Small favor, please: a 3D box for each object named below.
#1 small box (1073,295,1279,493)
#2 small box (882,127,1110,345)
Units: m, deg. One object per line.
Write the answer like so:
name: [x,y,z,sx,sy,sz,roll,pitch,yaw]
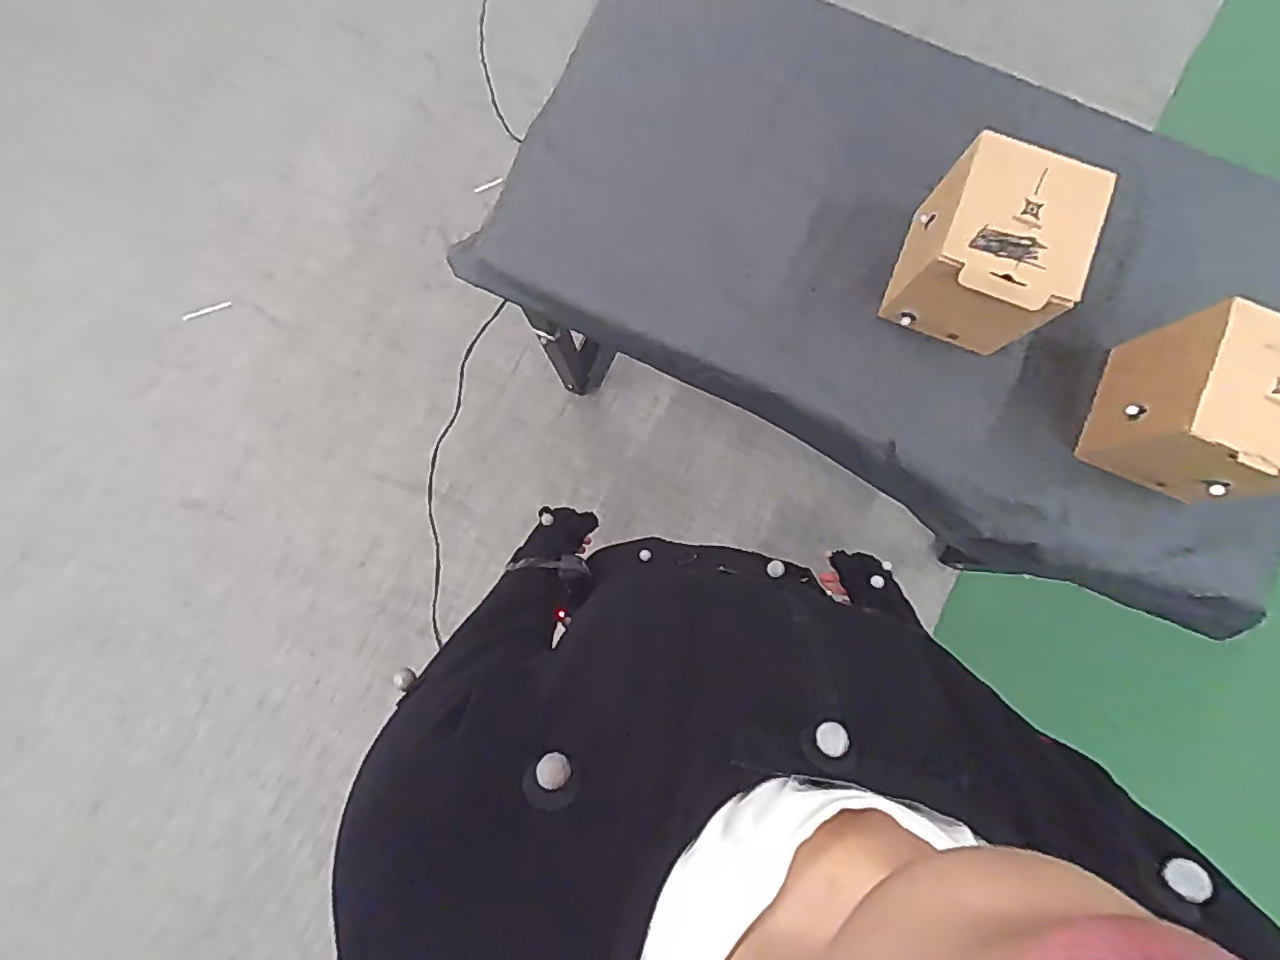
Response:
small box: [0.707,-0.094,0.687,0.168,0.176,0.179,24,83,2]
small box: [0.446,-0.302,0.710,0.168,0.176,0.179,22,84,3]
